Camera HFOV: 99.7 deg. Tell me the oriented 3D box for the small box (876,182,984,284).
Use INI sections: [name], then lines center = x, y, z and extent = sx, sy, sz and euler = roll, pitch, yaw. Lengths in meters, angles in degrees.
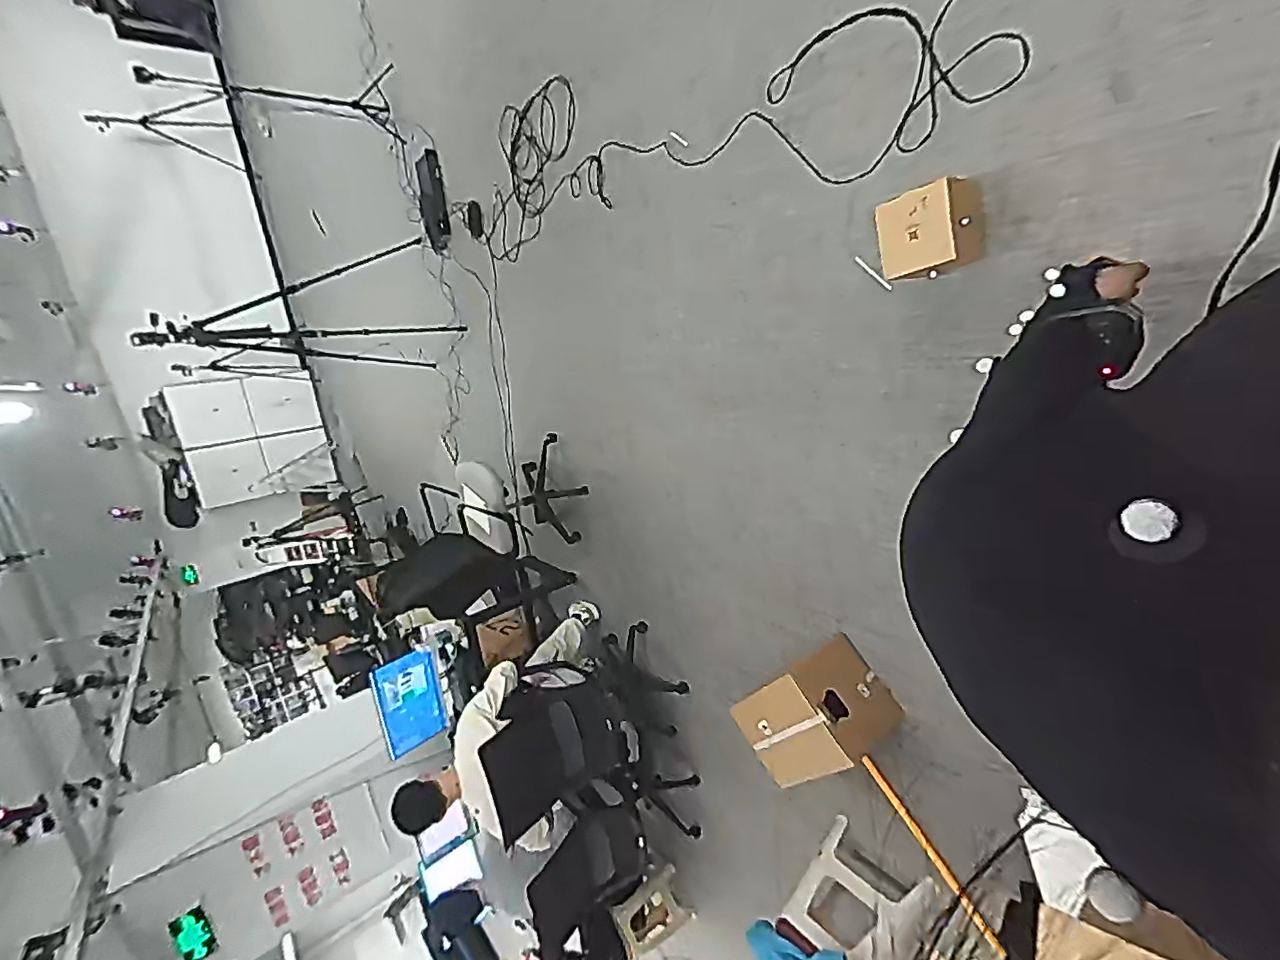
[small box]
center = 0.690, -0.579, 1.279
extent = 0.168, 0.176, 0.179
euler = -1, 104, 53
